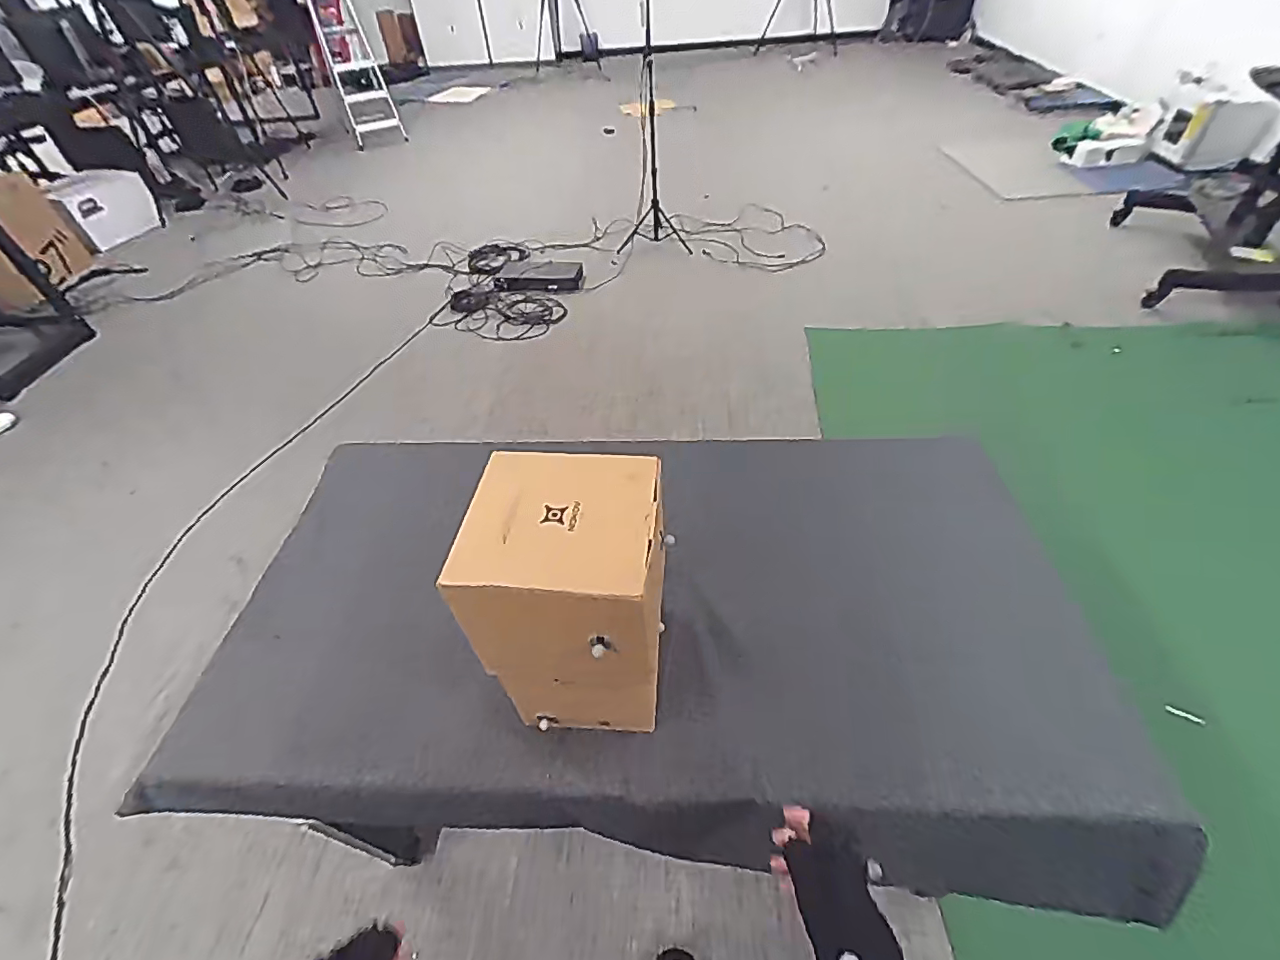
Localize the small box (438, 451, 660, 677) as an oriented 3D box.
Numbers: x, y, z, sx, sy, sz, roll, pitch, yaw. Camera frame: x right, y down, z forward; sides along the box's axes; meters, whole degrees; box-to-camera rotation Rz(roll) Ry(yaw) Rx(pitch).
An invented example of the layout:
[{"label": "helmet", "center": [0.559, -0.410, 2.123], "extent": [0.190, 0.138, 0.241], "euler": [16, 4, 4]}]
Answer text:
[{"label": "small box", "center": [-0.072, 0.088, 0.558], "extent": [0.179, 0.176, 0.168], "euler": [1, 45, 7]}]

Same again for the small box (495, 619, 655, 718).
[{"label": "small box", "center": [-0.067, 0.189, 0.686], "extent": [0.168, 0.176, 0.179], "euler": [-2, 47, 3]}]
